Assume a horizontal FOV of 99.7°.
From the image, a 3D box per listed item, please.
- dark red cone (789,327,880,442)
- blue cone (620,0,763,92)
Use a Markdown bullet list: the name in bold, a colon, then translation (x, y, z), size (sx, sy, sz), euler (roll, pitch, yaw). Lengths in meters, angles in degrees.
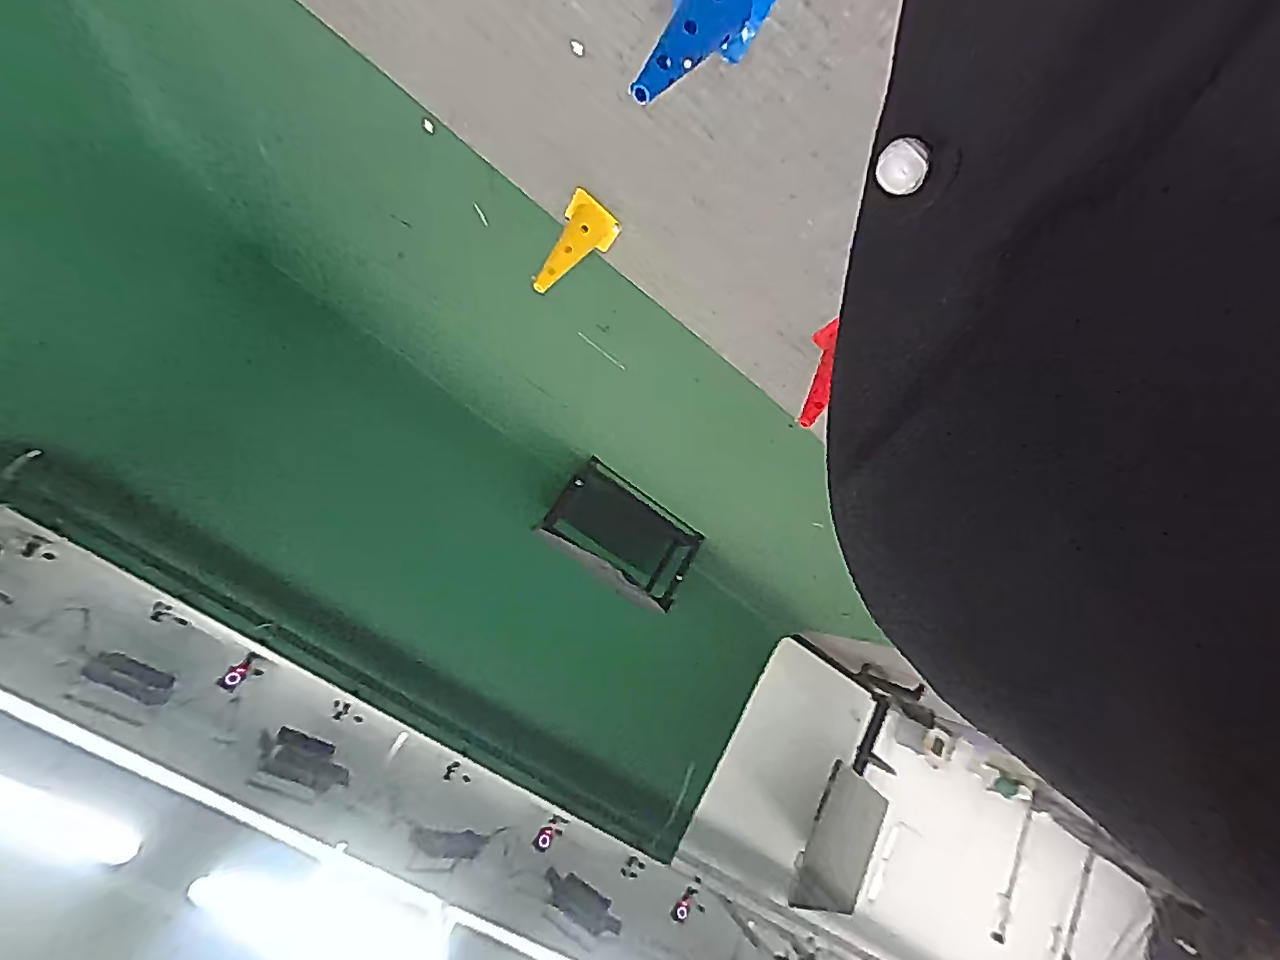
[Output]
- **dark red cone**: translation (0.592, -0.291, 1.767), size (0.202, 0.394, 0.201), euler (35, 165, -6)
- **blue cone**: translation (0.081, -0.920, 1.117), size (0.192, 0.380, 0.193), euler (38, 161, -13)
